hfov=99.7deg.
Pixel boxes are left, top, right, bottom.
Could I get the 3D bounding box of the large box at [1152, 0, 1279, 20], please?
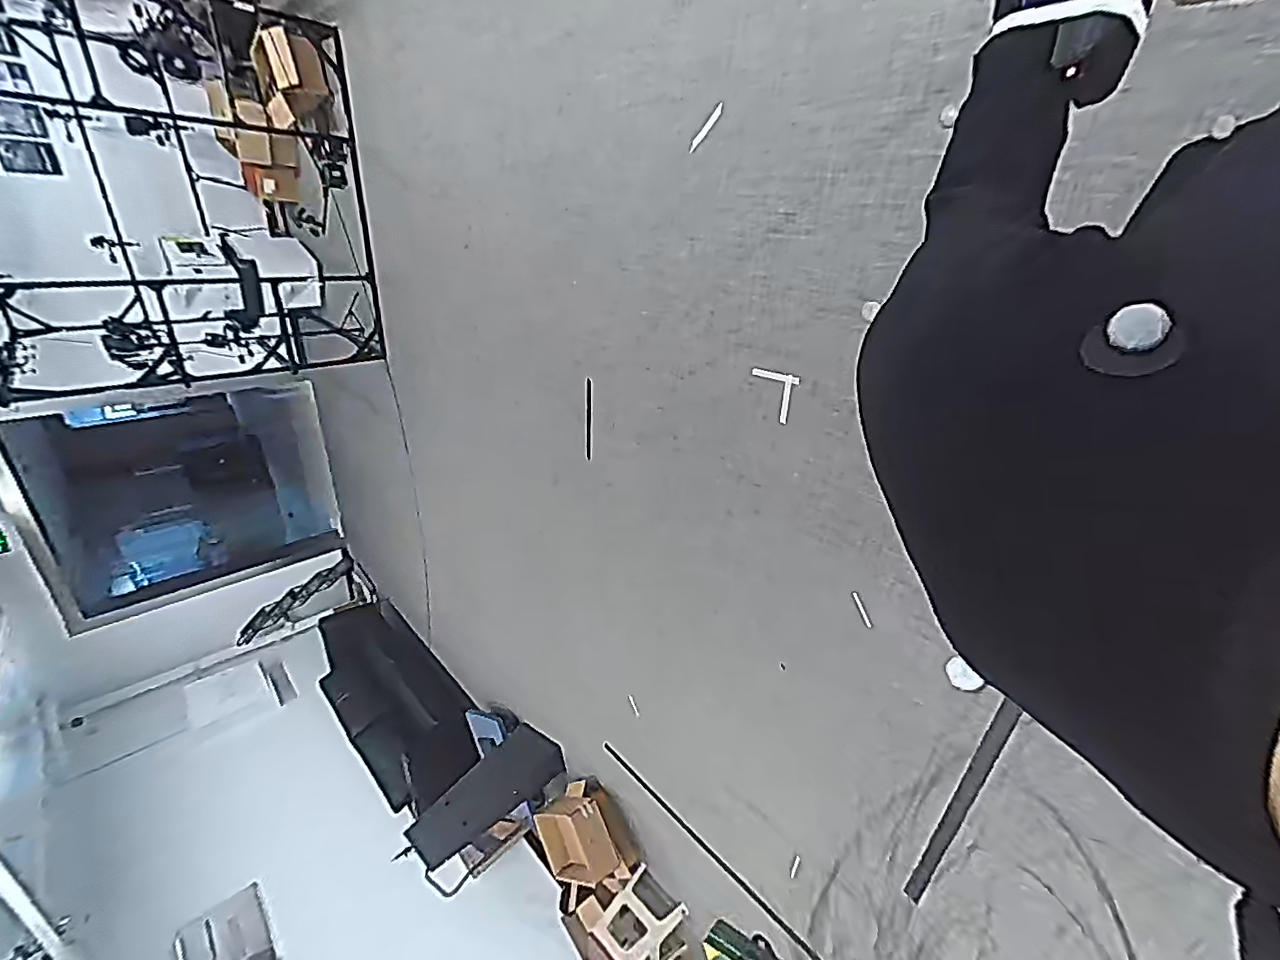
[{"bbox_3d":[0.567,-0.485,0.268,0.408,0.320,0.320,24,131,39],"label":"large box"}]
